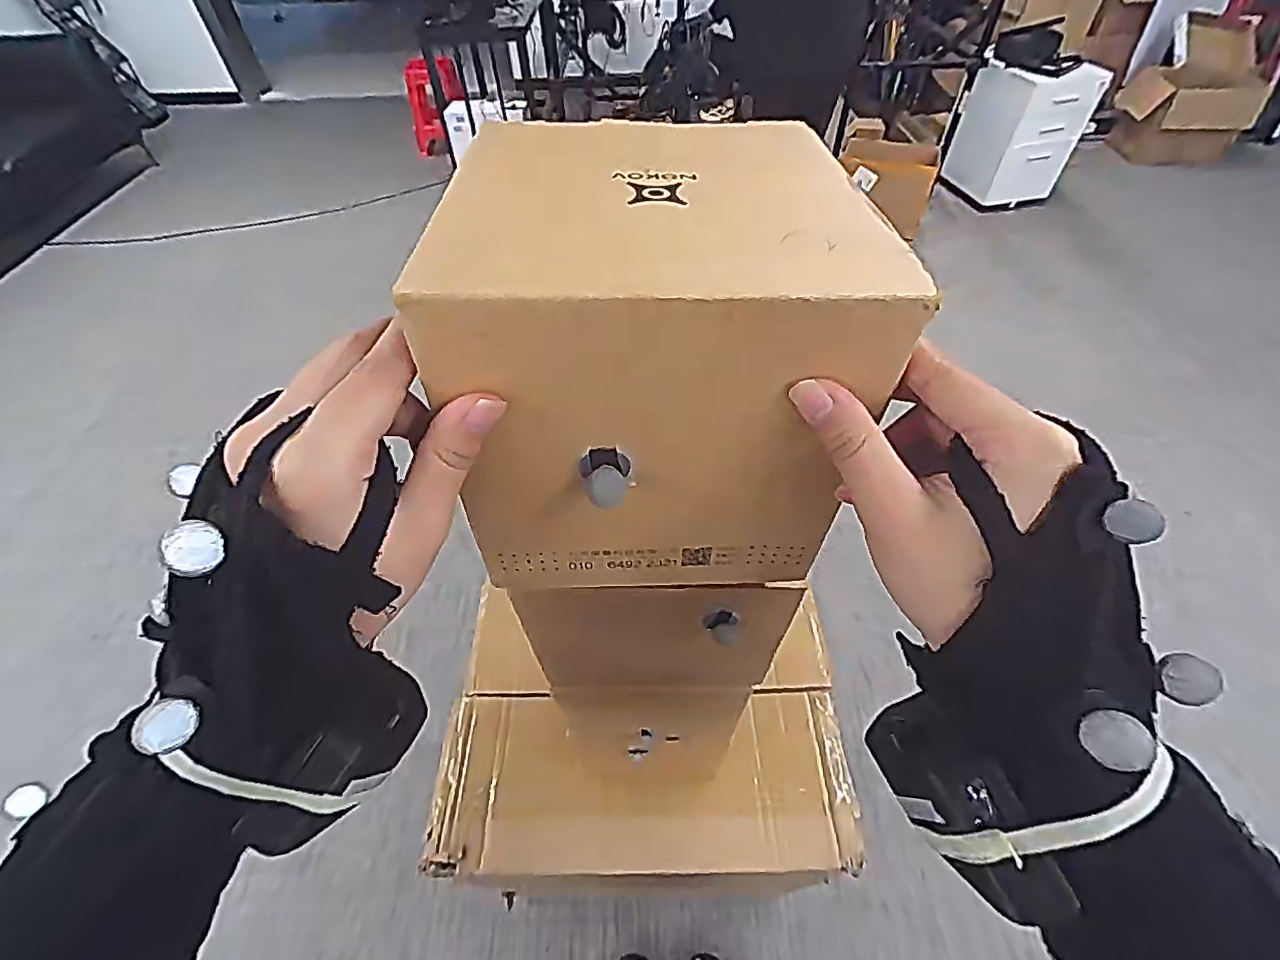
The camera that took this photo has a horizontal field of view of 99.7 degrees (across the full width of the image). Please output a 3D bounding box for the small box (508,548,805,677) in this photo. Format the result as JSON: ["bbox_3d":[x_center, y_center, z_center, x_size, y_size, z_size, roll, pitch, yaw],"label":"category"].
[{"bbox_3d":[0.012,0.045,0.424,0.179,0.176,0.168,-1,51,1],"label":"small box"}]

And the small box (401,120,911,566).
[{"bbox_3d":[0.003,-0.066,0.283,0.168,0.176,0.179,-2,47,-3],"label":"small box"}]

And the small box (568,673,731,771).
[{"bbox_3d":[0.014,0.256,0.677,0.179,0.176,0.168,0,50,2],"label":"small box"}]
